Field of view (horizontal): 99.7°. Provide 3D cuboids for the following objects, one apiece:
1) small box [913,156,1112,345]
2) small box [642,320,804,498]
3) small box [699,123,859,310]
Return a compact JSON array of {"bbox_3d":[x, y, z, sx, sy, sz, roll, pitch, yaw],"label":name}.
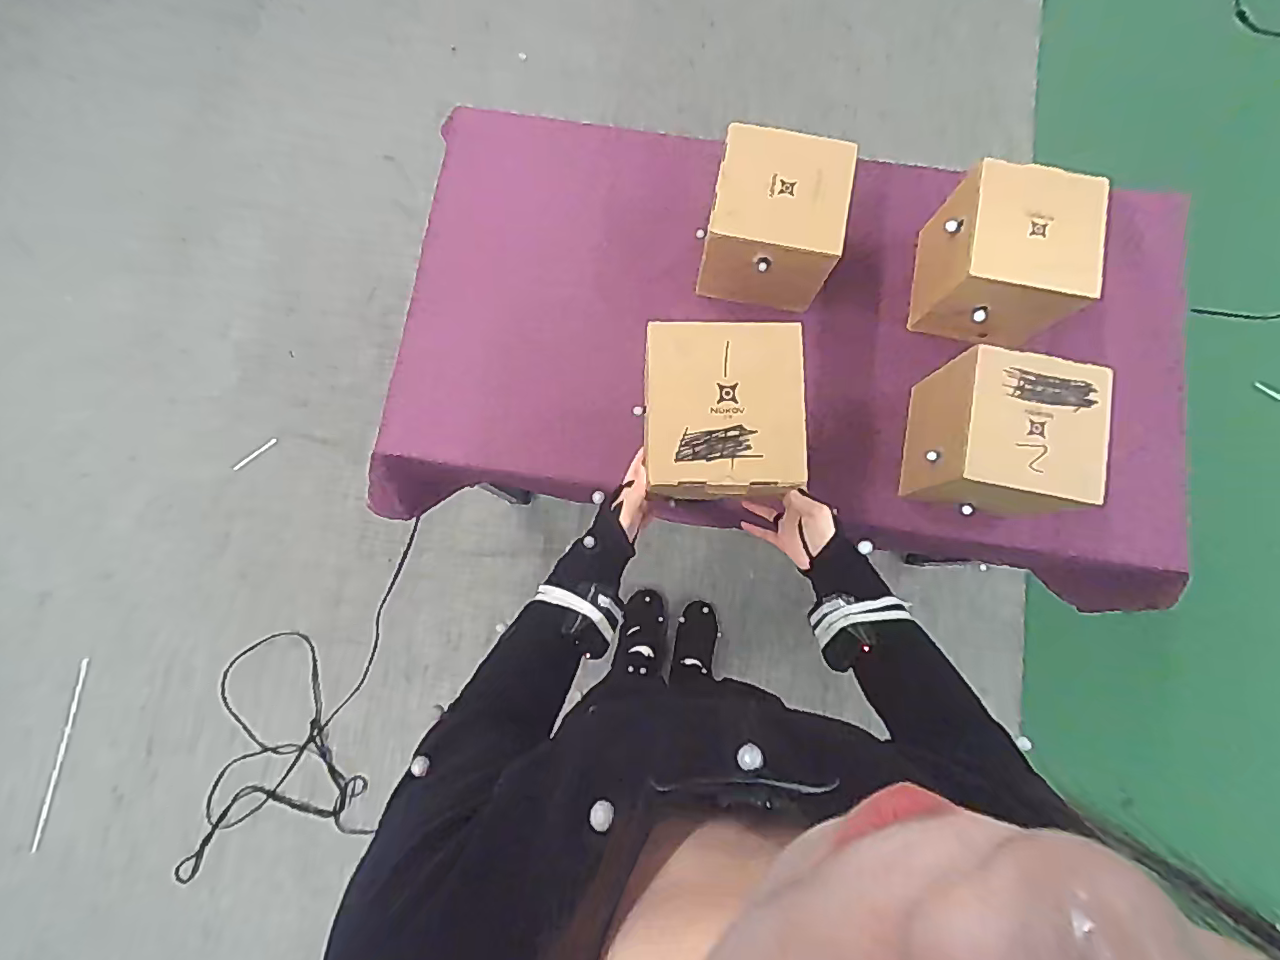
[{"bbox_3d":[0.512,-0.312,0.767,0.168,0.176,0.179,11,81,3],"label":"small box"},{"bbox_3d":[0.087,-0.072,0.636,0.168,0.176,0.179,0,82,0],"label":"small box"},{"bbox_3d":[0.188,-0.368,0.783,0.179,0.176,0.168,12,81,2],"label":"small box"}]
